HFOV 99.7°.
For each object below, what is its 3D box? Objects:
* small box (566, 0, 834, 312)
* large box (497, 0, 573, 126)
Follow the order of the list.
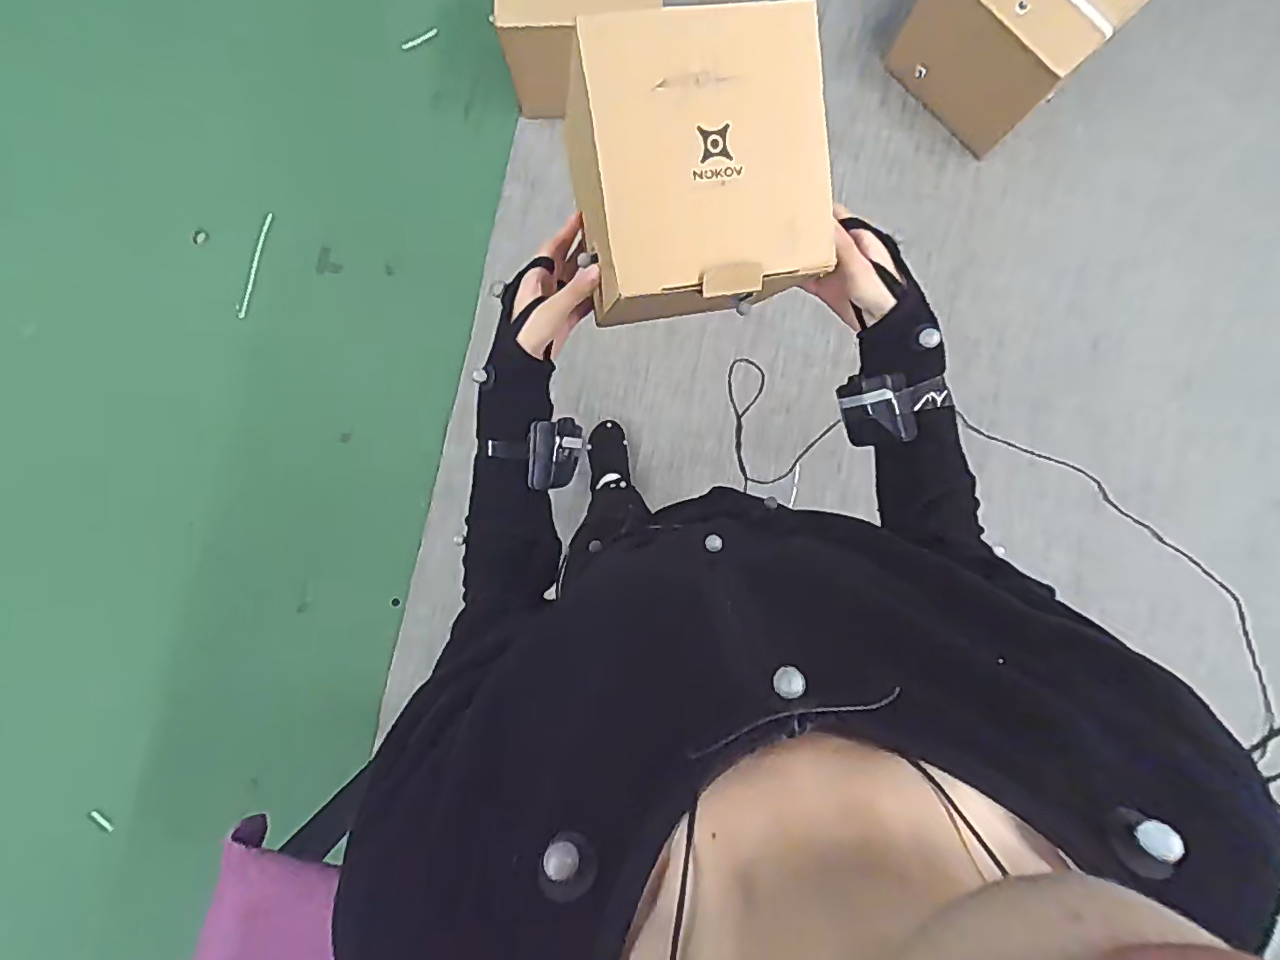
[{"bbox_3d":[0.035,-0.239,0.438,0.168,0.176,0.179,-10,100,-8],"label":"small box"},{"bbox_3d":[-0.140,-1.200,1.439,0.408,0.320,0.320,-1,86,2],"label":"large box"}]
